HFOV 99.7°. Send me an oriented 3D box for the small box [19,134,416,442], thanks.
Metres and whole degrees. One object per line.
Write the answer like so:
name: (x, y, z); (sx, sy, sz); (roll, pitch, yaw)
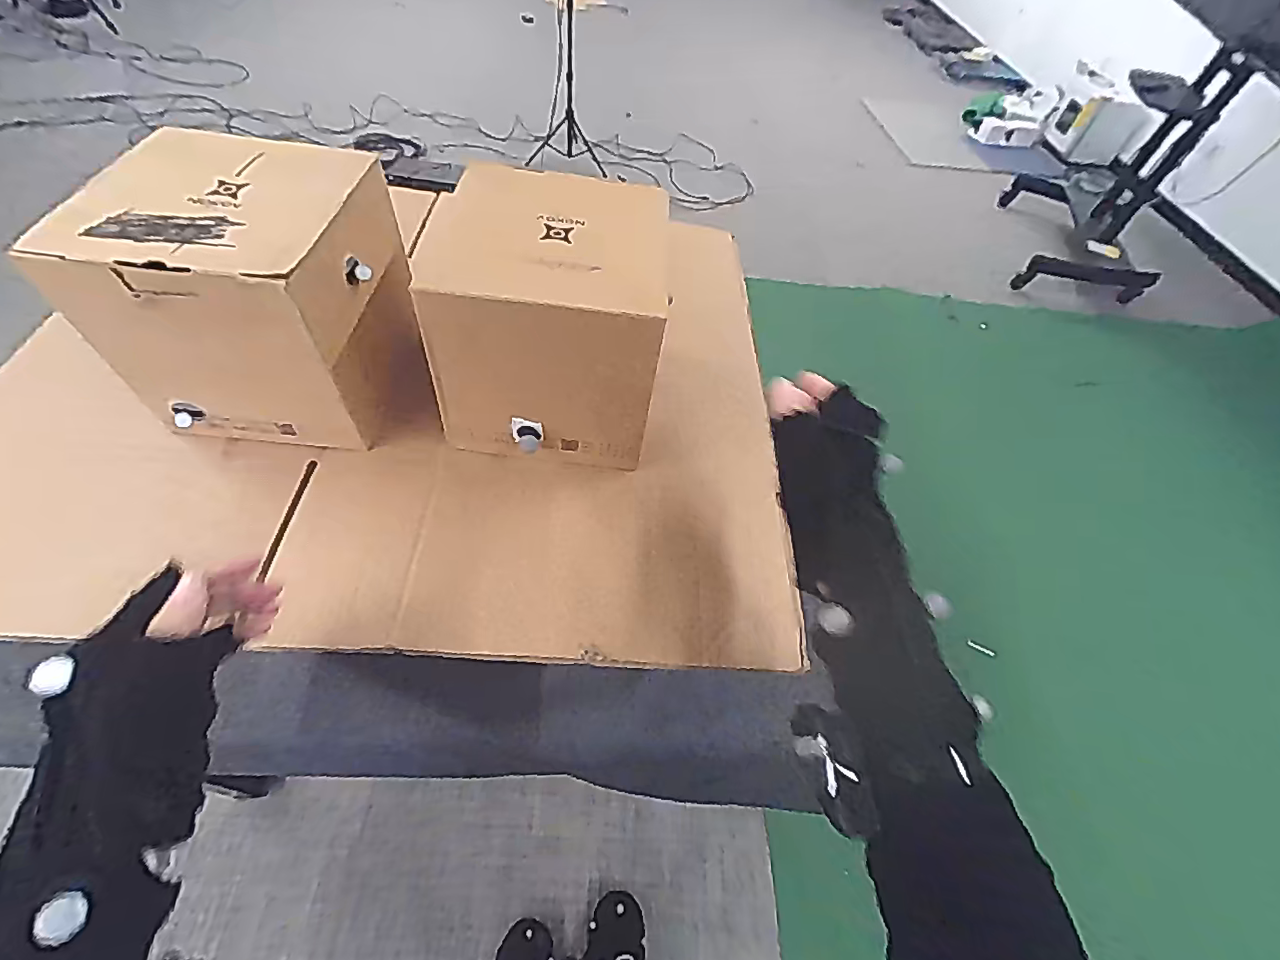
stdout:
small box: (-0.304, -0.151, 0.447); (0.168, 0.176, 0.179); (5, 53, -3)
